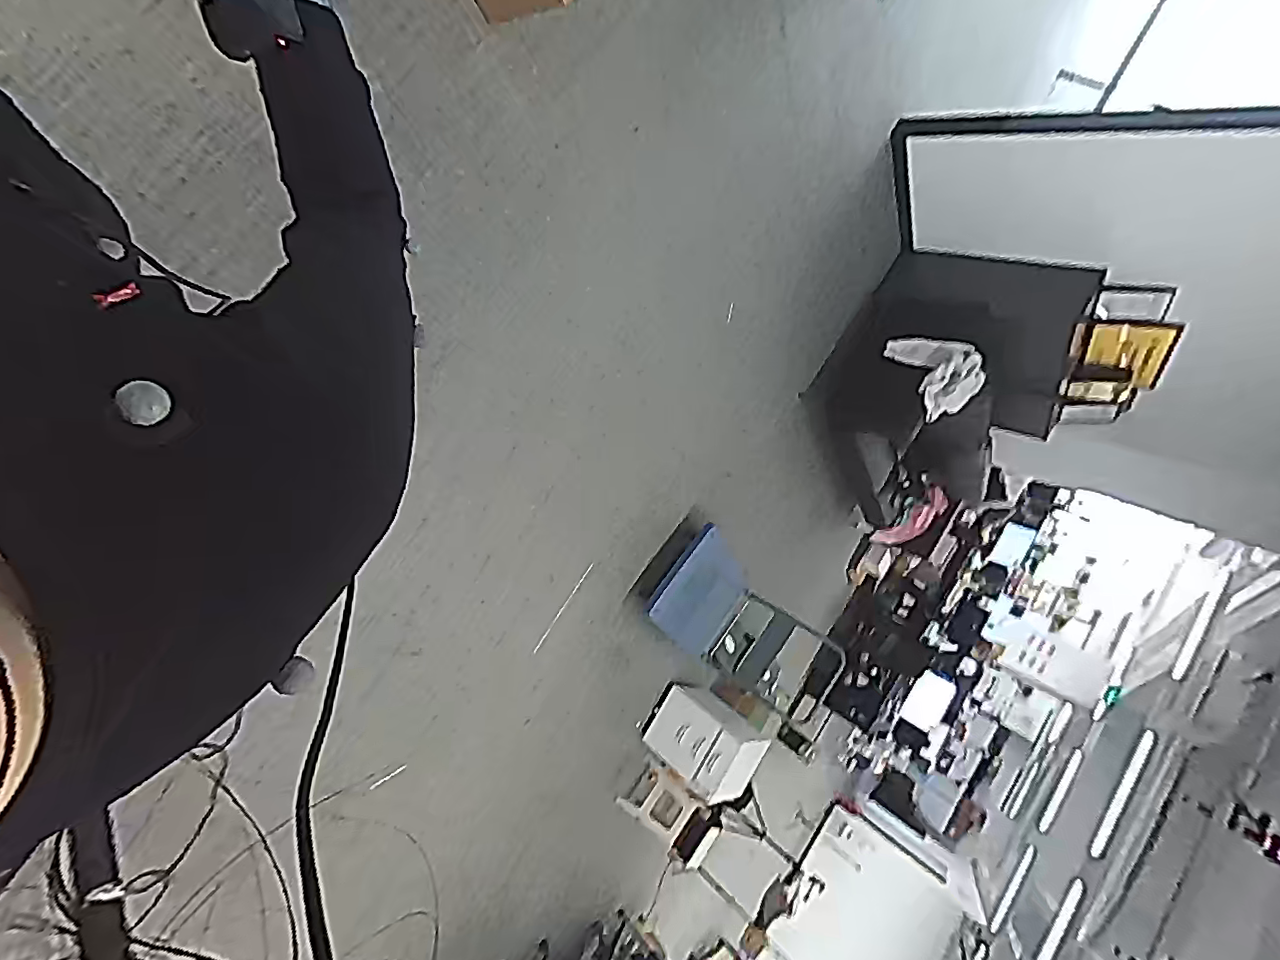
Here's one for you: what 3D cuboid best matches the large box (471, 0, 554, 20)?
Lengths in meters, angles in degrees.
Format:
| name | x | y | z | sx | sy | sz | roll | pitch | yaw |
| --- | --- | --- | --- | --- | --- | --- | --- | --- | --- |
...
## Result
| name | x | y | z | sx | sy | sz | roll | pitch | yaw |
| --- | --- | --- | --- | --- | --- | --- | --- | --- | --- |
| large box | -0.294 | -1.316 | 1.149 | 0.320 | 0.320 | 0.408 | -55 | 141 | -10 |
